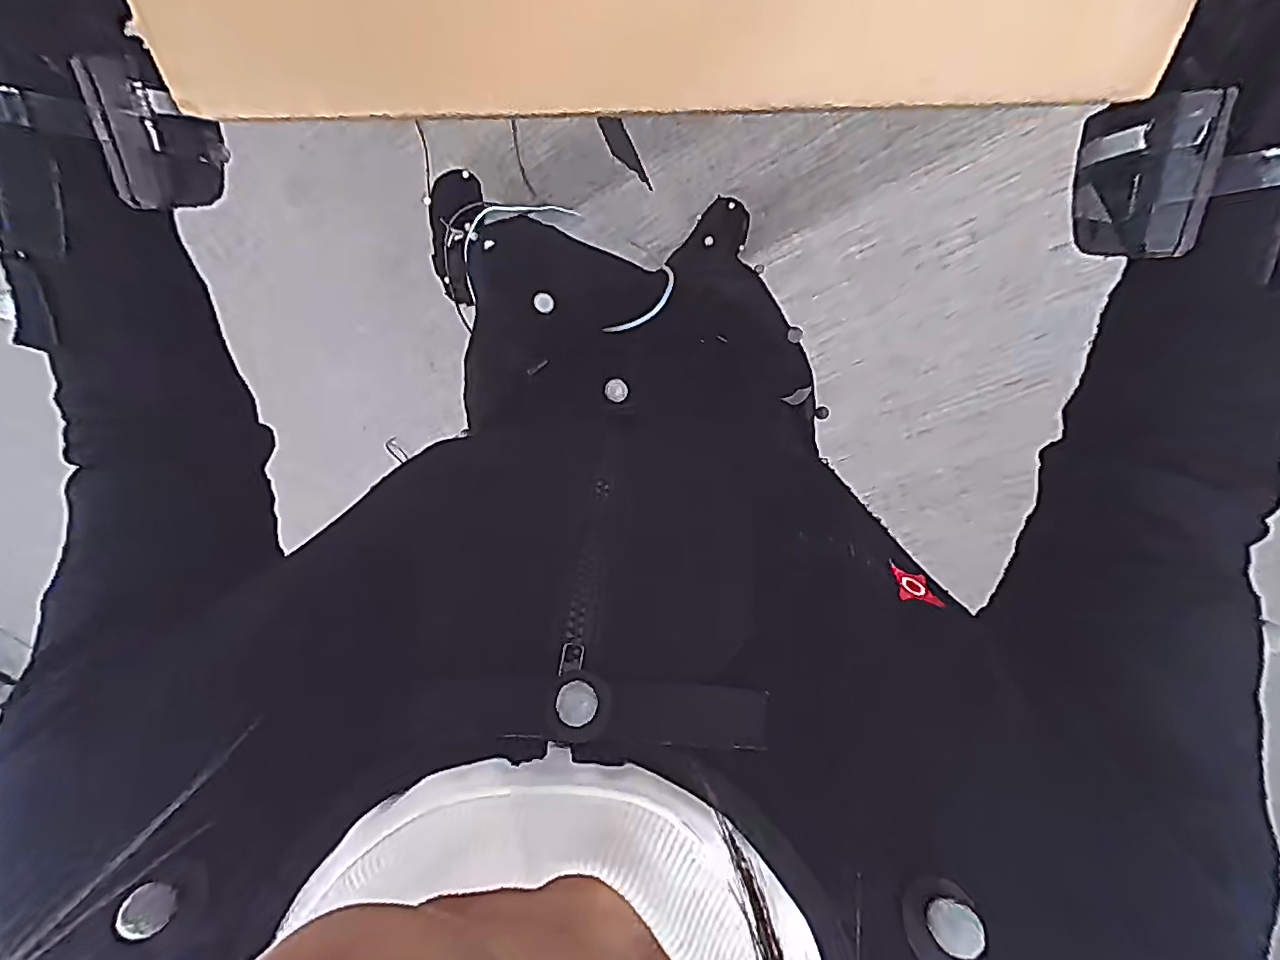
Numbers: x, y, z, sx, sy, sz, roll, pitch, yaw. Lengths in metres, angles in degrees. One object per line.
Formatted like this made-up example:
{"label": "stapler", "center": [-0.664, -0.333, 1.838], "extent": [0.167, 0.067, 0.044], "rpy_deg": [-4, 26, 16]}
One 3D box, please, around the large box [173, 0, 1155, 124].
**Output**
{"label": "large box", "center": [0.005, -0.379, 0.271], "extent": [0.408, 0.320, 0.320], "rpy_deg": [1, 126, 4]}
